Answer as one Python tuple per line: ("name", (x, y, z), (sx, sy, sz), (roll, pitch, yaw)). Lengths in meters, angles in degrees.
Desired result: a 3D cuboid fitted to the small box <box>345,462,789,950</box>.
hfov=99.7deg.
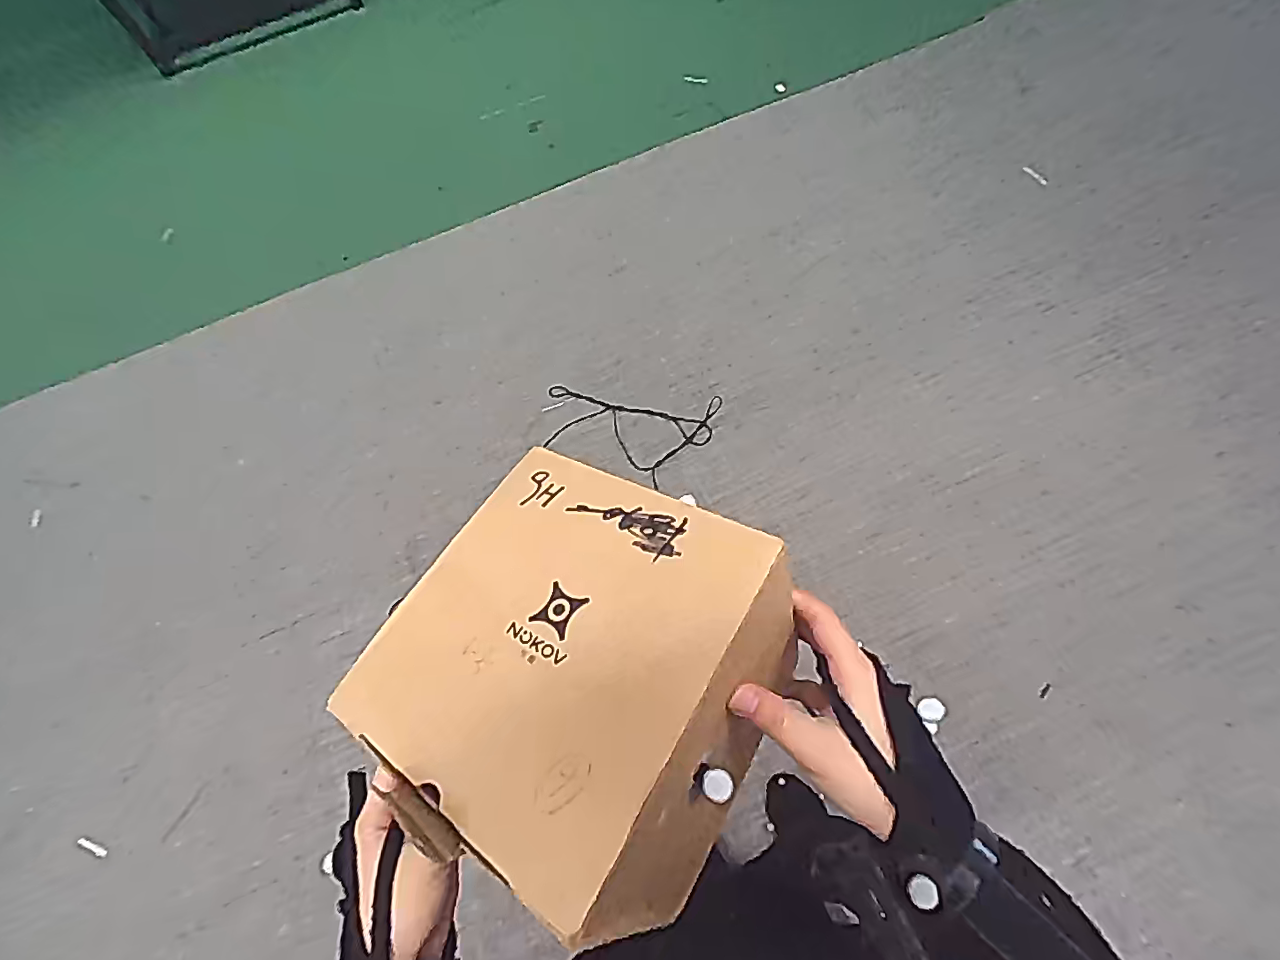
("small box", (-0.019, 0.123, 0.325), (0.168, 0.176, 0.179), (21, 64, 30))
